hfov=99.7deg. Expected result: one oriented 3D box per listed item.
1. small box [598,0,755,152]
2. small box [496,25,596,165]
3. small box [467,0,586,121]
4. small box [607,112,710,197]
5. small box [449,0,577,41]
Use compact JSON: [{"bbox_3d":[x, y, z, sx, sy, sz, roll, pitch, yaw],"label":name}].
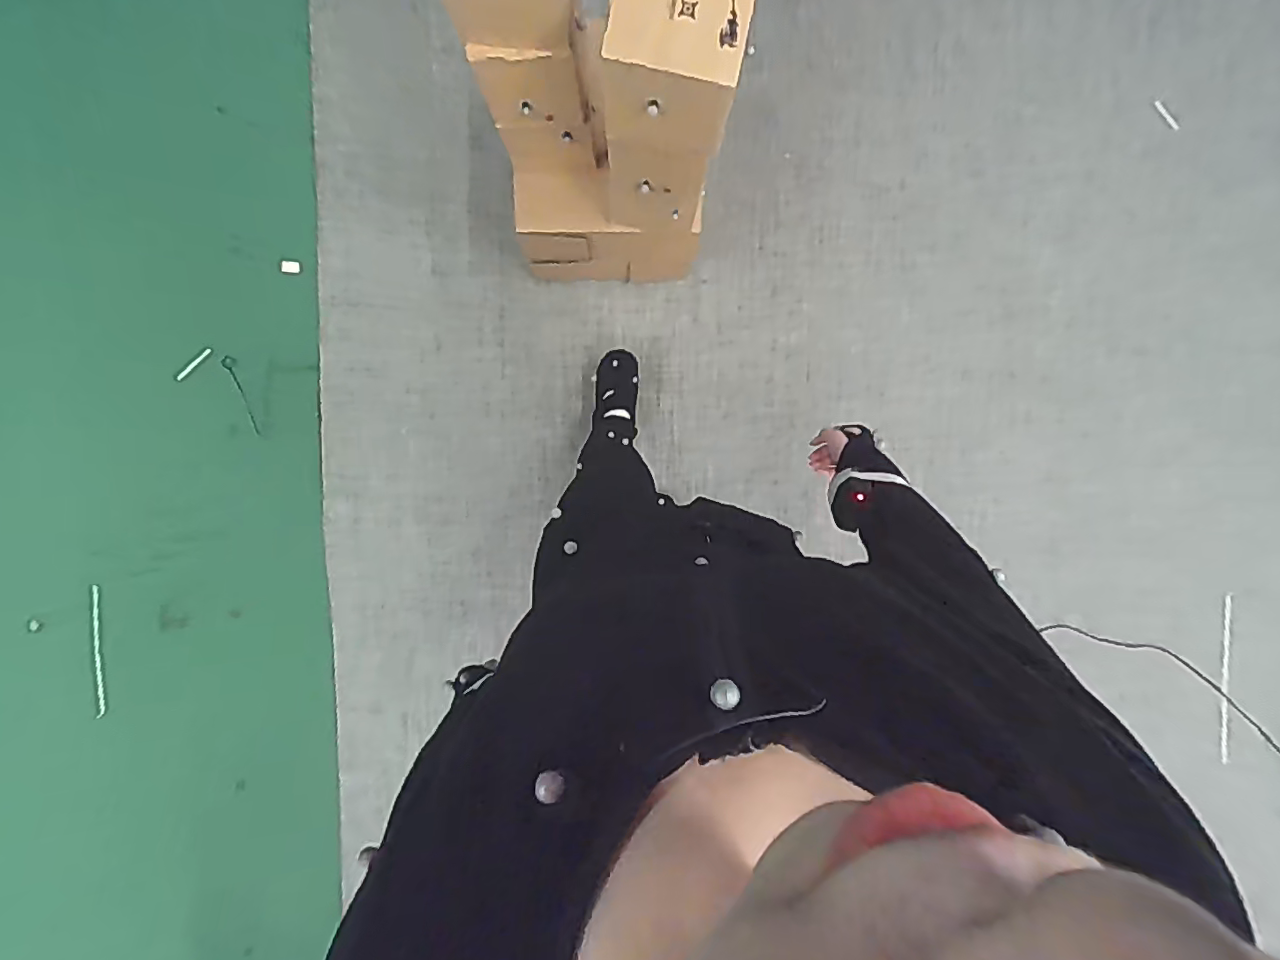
[{"bbox_3d":[0.051,-0.587,0.739,0.179,0.176,0.168,13,92,0],"label":"small box"},{"bbox_3d":[-0.178,-0.746,1.063,0.179,0.176,0.168,-1,91,0],"label":"small box"},{"bbox_3d":[-0.182,-0.741,0.900,0.168,0.176,0.179,0,92,0],"label":"small box"},{"bbox_3d":[0.039,-0.610,0.903,0.168,0.176,0.179,8,92,-1],"label":"small box"},{"bbox_3d":[-0.181,-0.745,0.735,0.179,0.176,0.168,5,92,0],"label":"small box"}]
